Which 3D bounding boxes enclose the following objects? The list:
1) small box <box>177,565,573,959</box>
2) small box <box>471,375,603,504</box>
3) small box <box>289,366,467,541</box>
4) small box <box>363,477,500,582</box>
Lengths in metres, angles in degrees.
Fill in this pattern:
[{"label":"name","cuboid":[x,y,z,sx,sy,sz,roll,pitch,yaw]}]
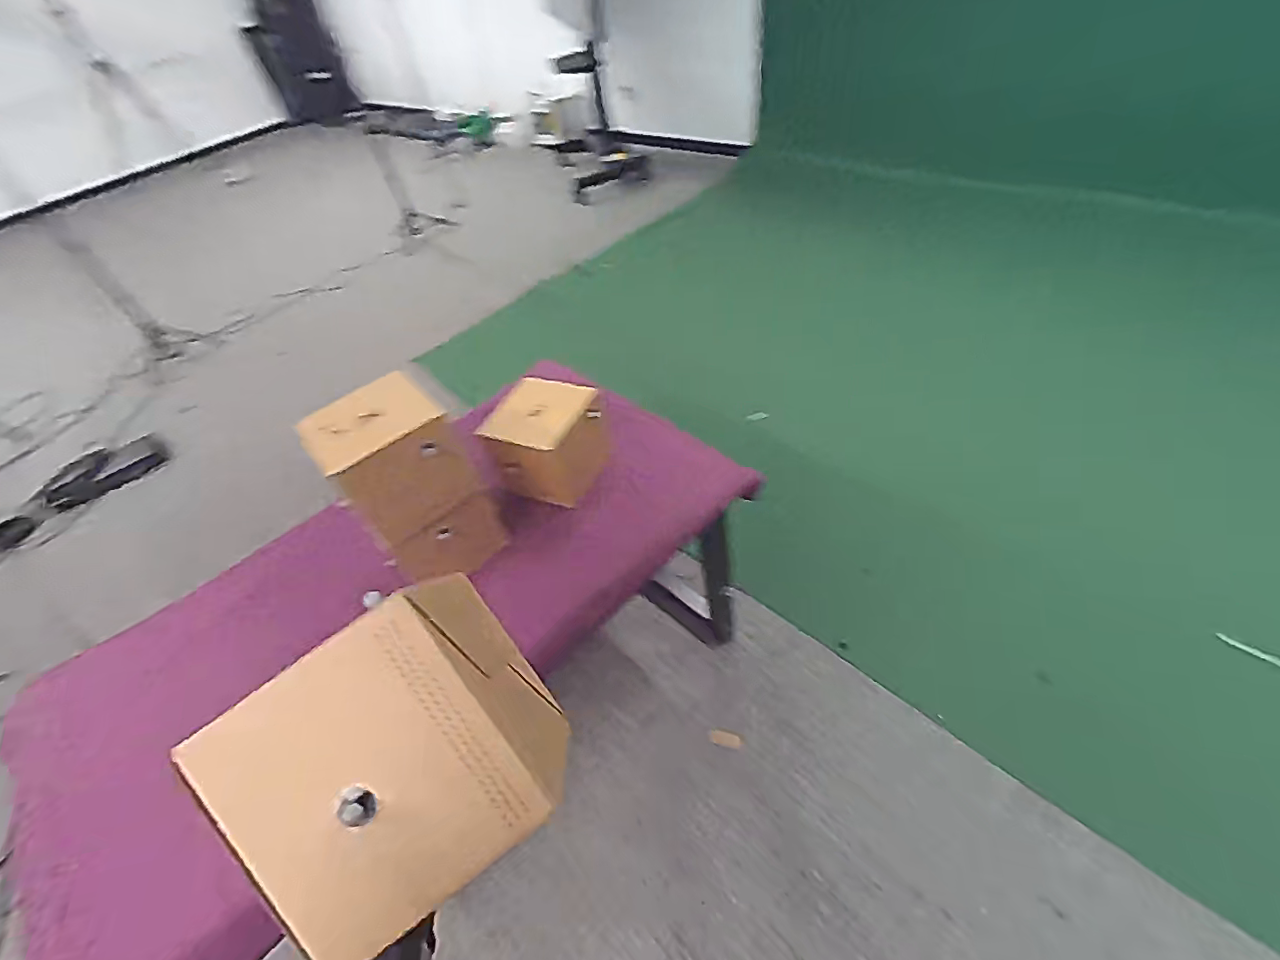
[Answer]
[{"label":"small box","cuboid":[-0.168,0.182,0.408,0.176,0.168,0.179,-37,88,-6]},{"label":"small box","cuboid":[-0.189,-0.078,1.060,0.168,0.176,0.179,14,52,23]},{"label":"small box","cuboid":[-0.392,-0.041,0.839,0.179,0.176,0.168,-36,52,-21]},{"label":"small box","cuboid":[-0.380,0.068,0.962,0.179,0.176,0.168,-36,52,-22]}]
